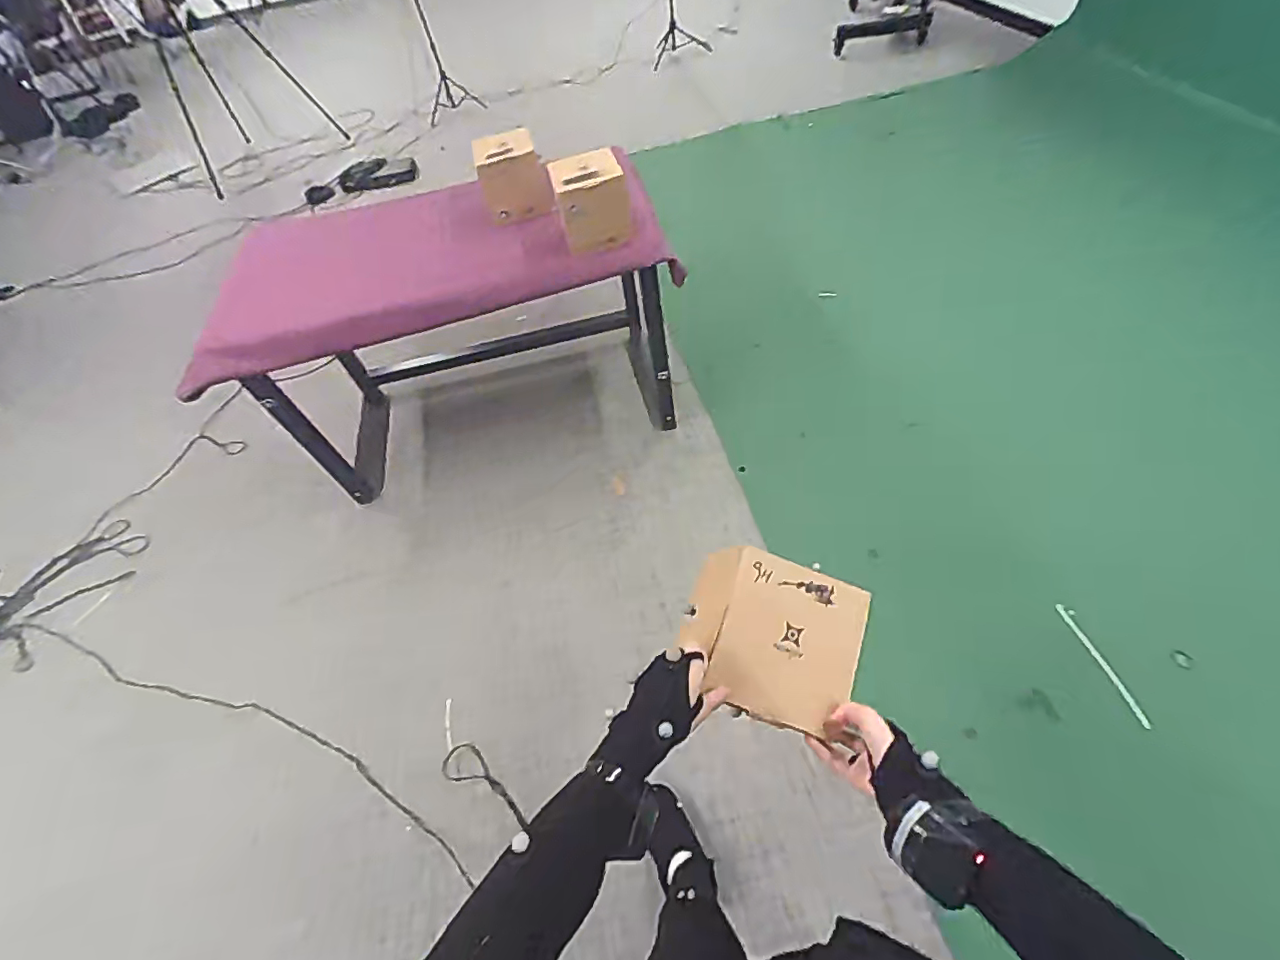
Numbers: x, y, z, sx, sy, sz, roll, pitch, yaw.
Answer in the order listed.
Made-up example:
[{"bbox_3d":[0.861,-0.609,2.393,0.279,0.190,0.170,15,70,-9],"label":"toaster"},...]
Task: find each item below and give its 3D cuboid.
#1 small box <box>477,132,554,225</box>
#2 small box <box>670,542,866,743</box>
[{"bbox_3d":[-0.350,-0.849,1.535,0.168,0.176,0.179,-16,52,-3],"label":"small box"},{"bbox_3d":[0.147,0.194,0.680,0.168,0.176,0.179,22,76,-4],"label":"small box"}]
